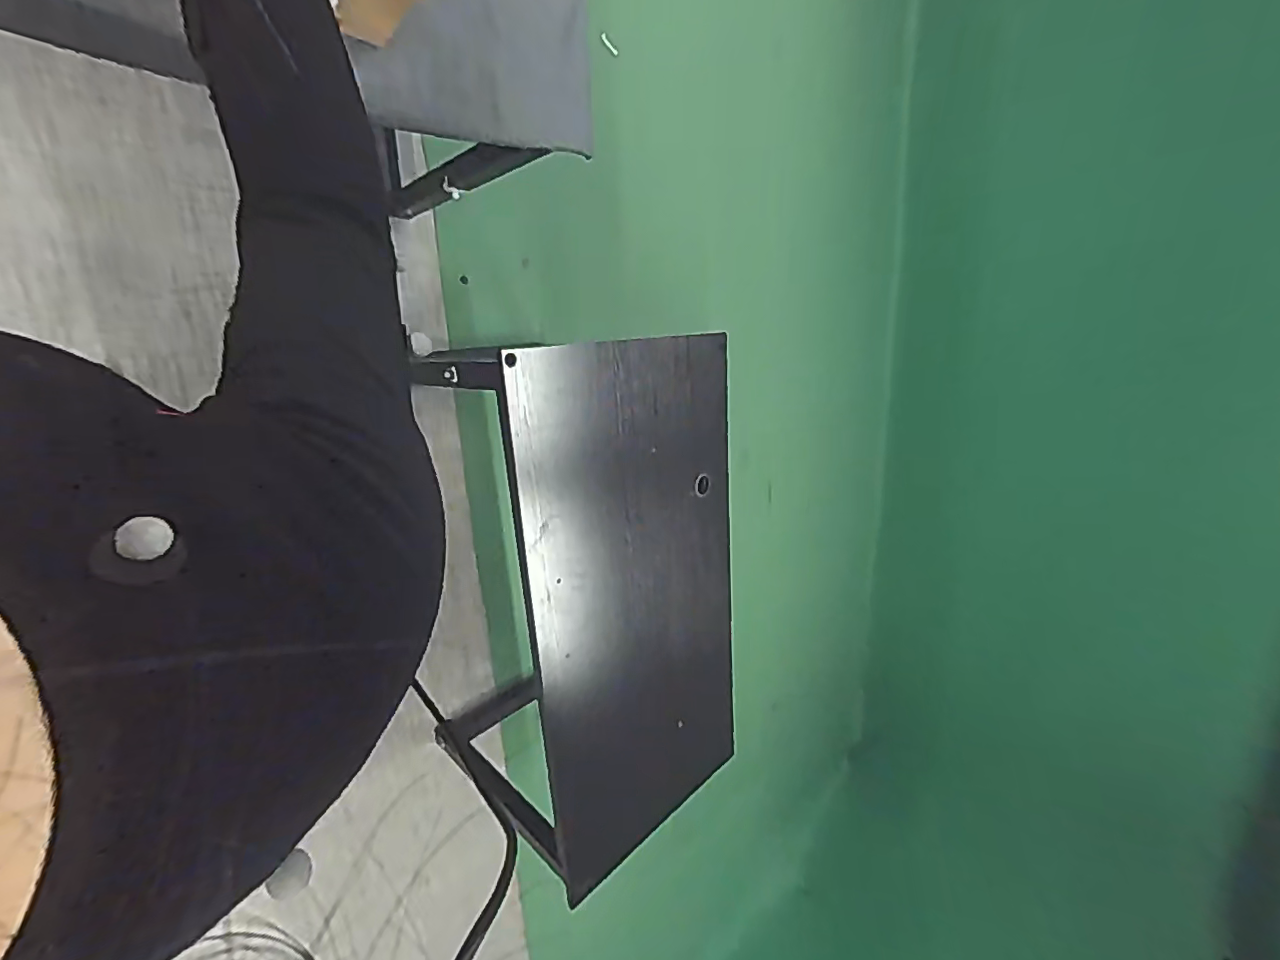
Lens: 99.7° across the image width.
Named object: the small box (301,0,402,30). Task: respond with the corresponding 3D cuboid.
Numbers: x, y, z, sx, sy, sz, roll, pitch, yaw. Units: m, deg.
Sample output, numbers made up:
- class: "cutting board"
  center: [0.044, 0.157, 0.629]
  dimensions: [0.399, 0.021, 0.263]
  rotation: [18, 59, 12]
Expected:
- class: "small box"
  center: [-0.328, -0.609, 0.545]
  dimensions: [0.168, 0.176, 0.179]
  rotation: [-12, 107, -42]
